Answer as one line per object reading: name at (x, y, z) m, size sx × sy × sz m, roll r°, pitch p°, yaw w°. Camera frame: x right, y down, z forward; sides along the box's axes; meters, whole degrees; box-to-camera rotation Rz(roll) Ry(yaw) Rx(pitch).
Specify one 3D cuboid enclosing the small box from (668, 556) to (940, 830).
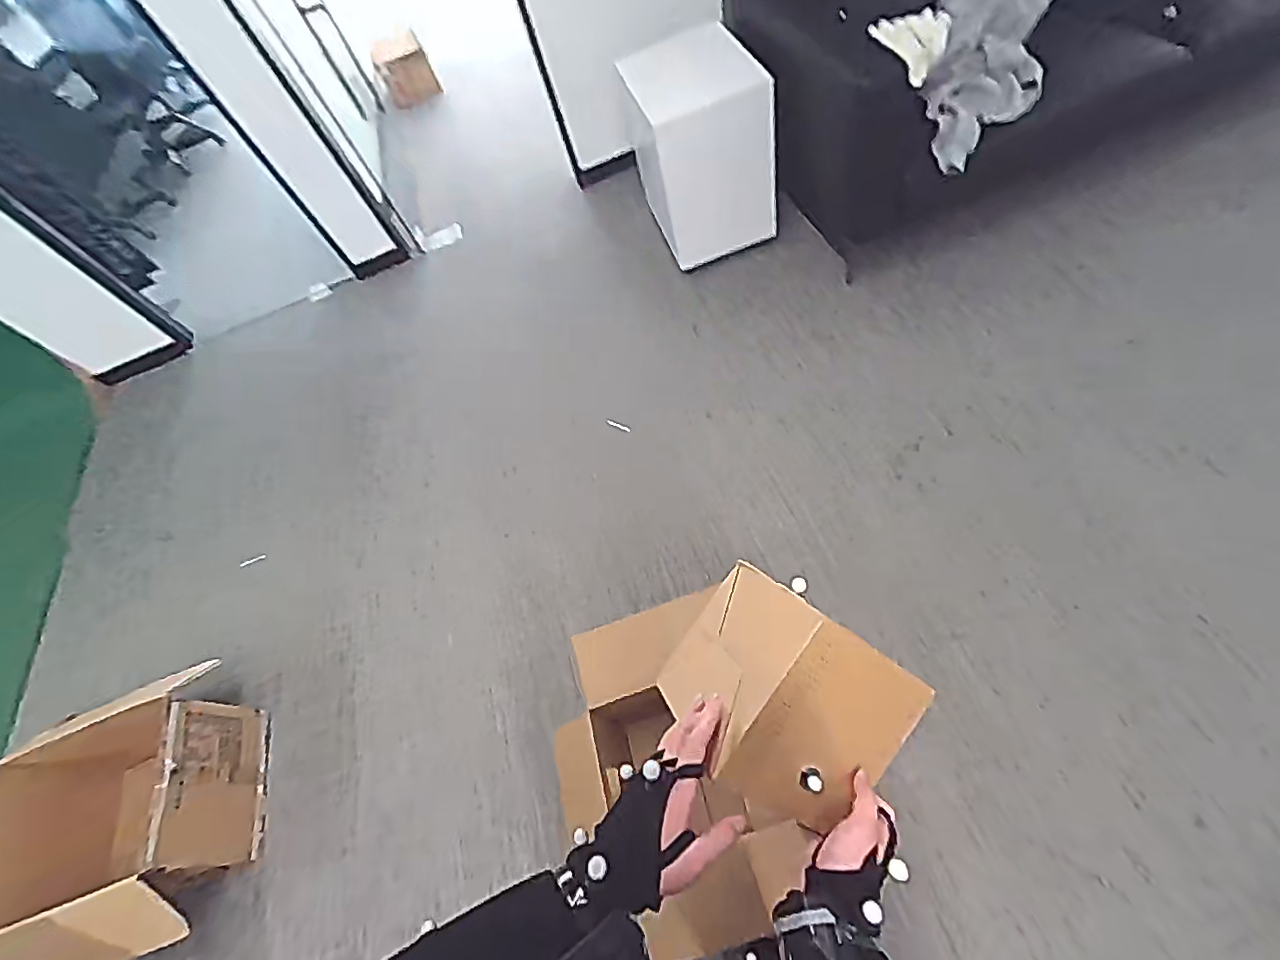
small box at (0.155, 0.210, 0.566) m, size 0.179 × 0.176 × 0.168 m, roll -57°, pitch 20°, yaw 2°
